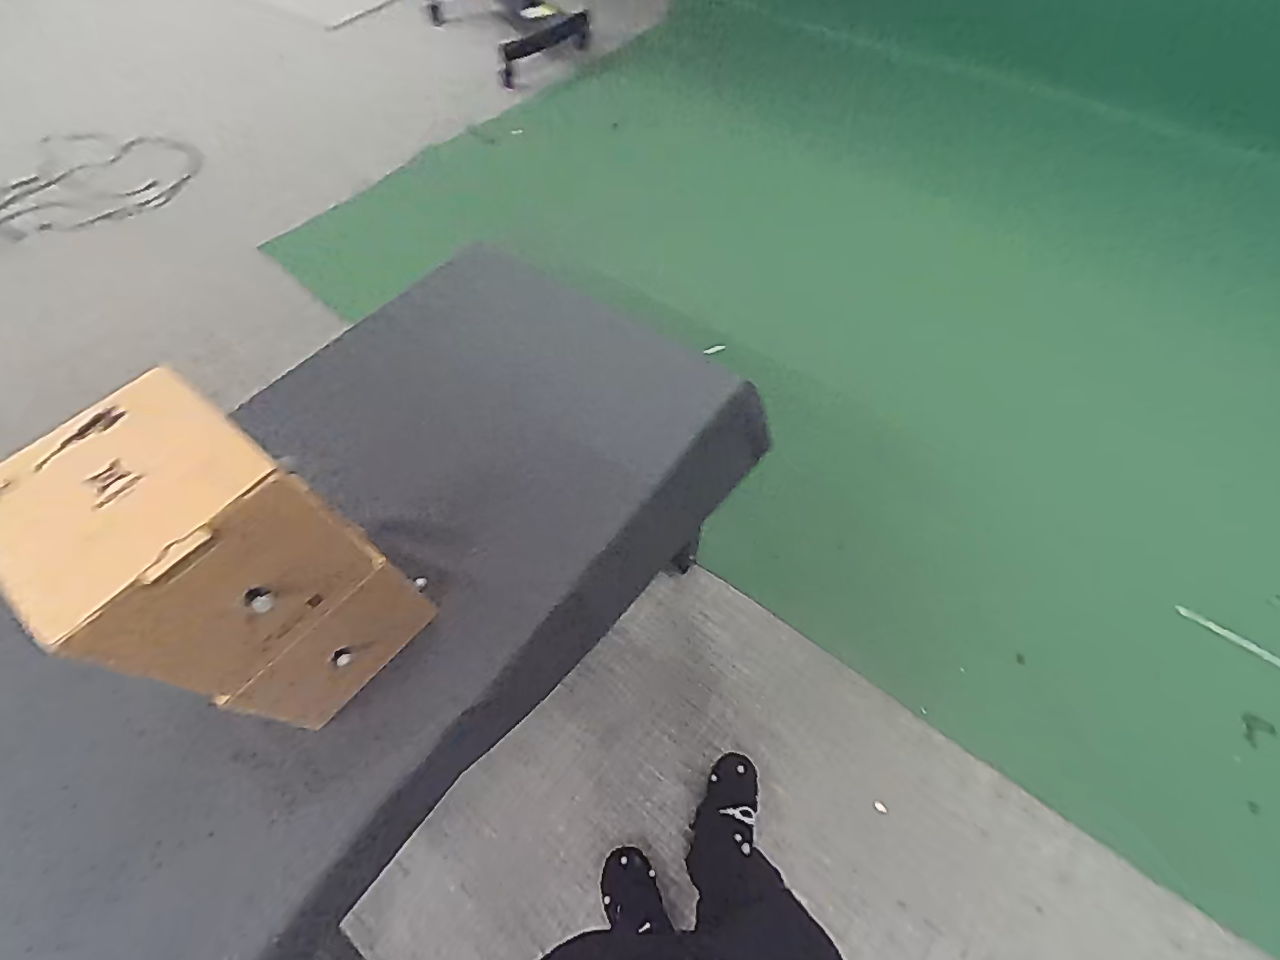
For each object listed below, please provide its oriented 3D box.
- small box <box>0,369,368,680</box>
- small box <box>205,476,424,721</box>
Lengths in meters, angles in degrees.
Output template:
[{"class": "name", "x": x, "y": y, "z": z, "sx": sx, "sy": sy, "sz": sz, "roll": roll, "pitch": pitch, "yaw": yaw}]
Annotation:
[{"class": "small box", "x": -0.375, "y": 0.047, "z": 0.459, "sx": 0.179, "sy": 0.176, "sz": 0.168, "roll": 34, "pitch": 65, "yaw": 19}, {"class": "small box", "x": -0.366, "y": 0.135, "z": 0.596, "sx": 0.168, "sy": 0.176, "sz": 0.179, "roll": 34, "pitch": 66, "yaw": 19}]
